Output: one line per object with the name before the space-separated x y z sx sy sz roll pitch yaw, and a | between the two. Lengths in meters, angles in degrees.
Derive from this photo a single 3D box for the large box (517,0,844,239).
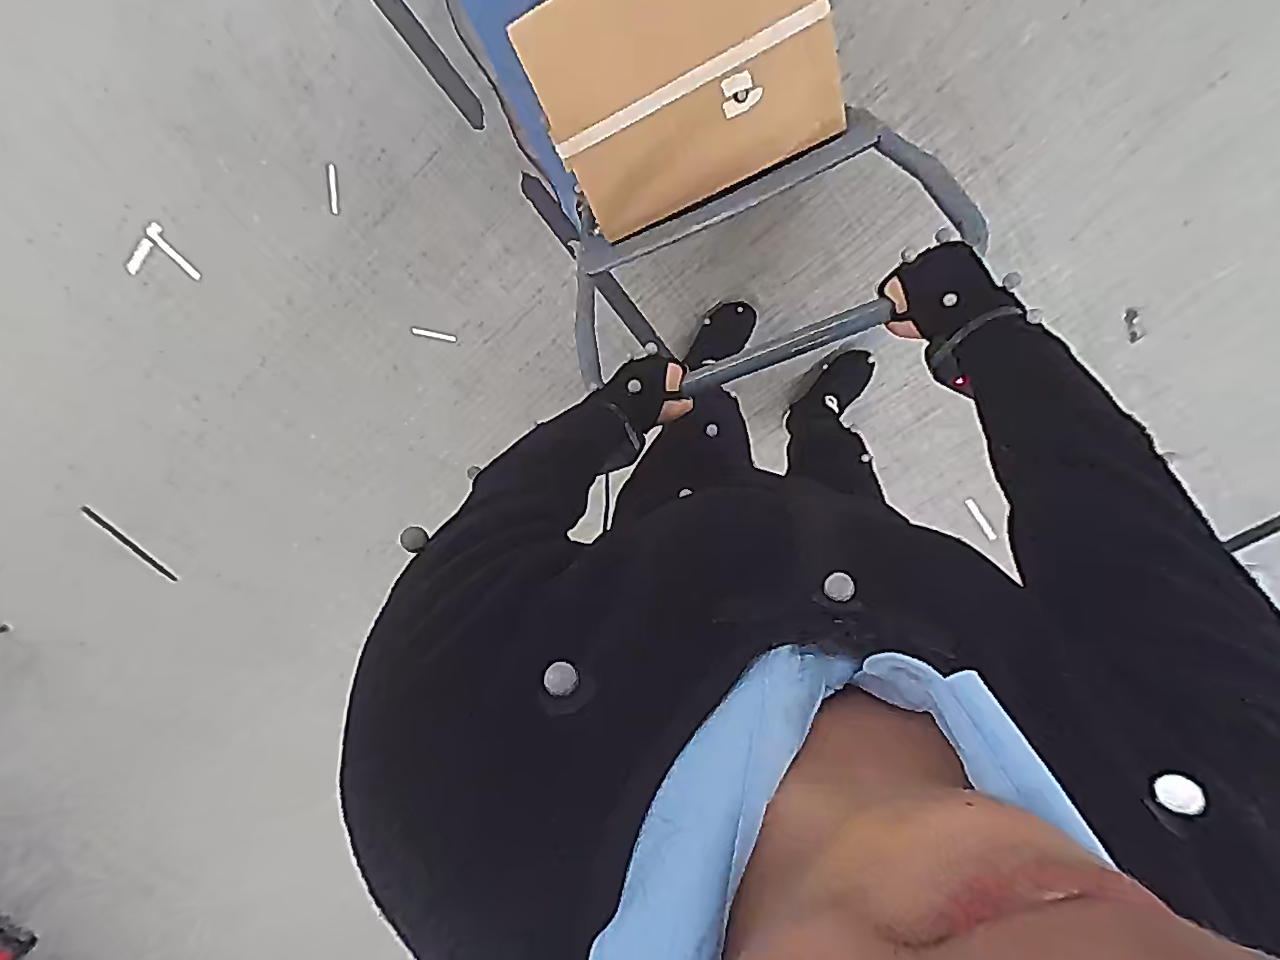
large box | 0.062 -0.677 0.896 0.408 0.320 0.320 -21 130 15
